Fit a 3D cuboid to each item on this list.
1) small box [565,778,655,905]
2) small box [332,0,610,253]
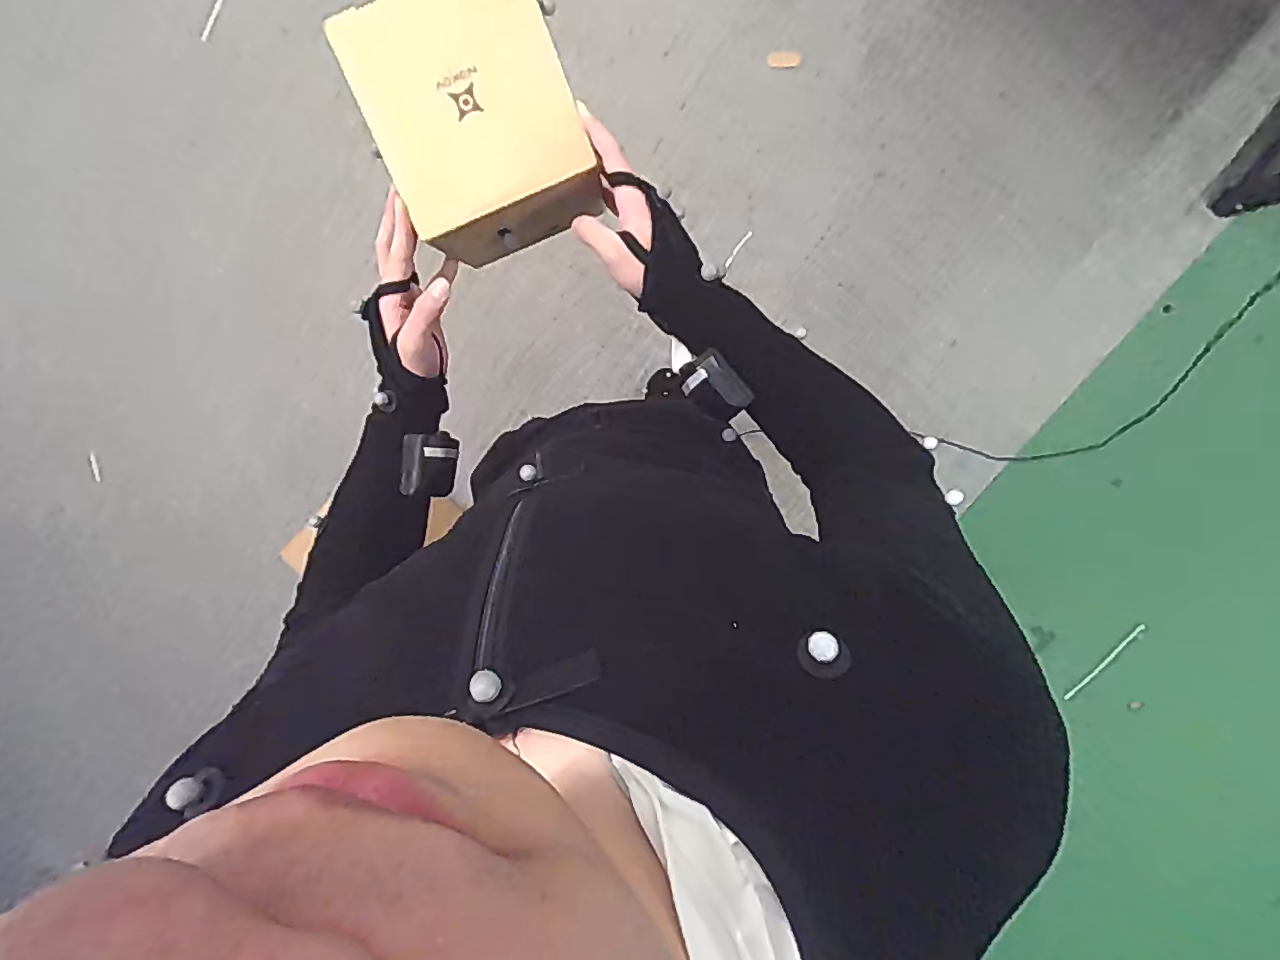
[{"bbox_3d":[-0.064,0.830,1.257,0.179,0.176,0.168,11,103,1],"label":"small box"},{"bbox_3d":[-0.134,-0.332,0.508,0.168,0.176,0.179,-21,102,4],"label":"small box"}]
